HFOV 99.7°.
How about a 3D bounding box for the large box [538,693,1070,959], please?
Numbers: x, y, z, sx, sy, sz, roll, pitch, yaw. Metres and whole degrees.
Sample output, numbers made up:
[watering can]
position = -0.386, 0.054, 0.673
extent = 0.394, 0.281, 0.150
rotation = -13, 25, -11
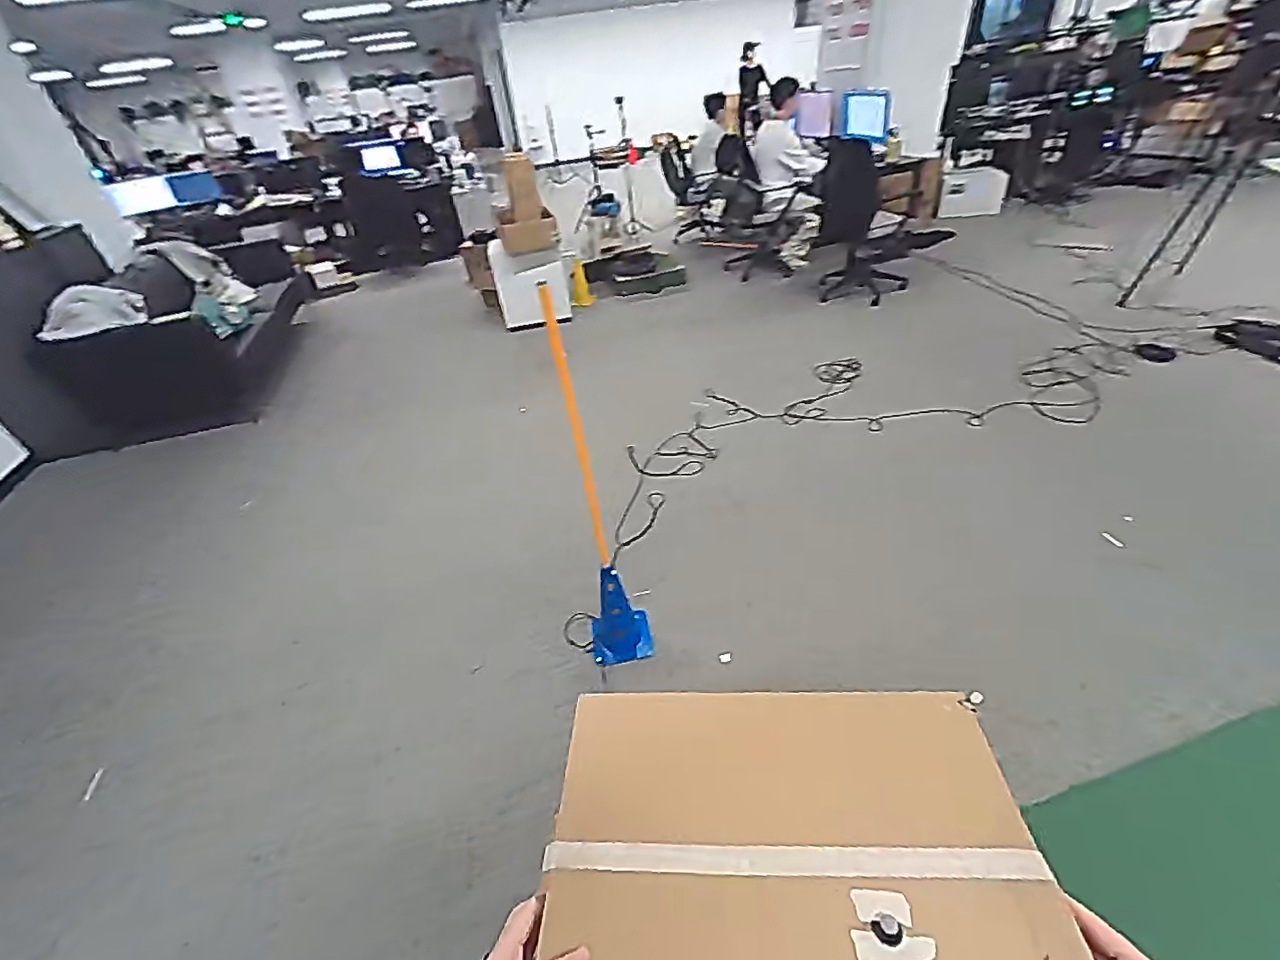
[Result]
[large box]
position = 0.130, 0.444, 0.545
extent = 0.408, 0.320, 0.320
rotation = -2, 36, 5

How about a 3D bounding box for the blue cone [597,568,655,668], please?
[blue cone]
position = -0.071, 0.421, 1.754
extent = 0.193, 0.380, 0.192
rotation = -9, 37, -1
